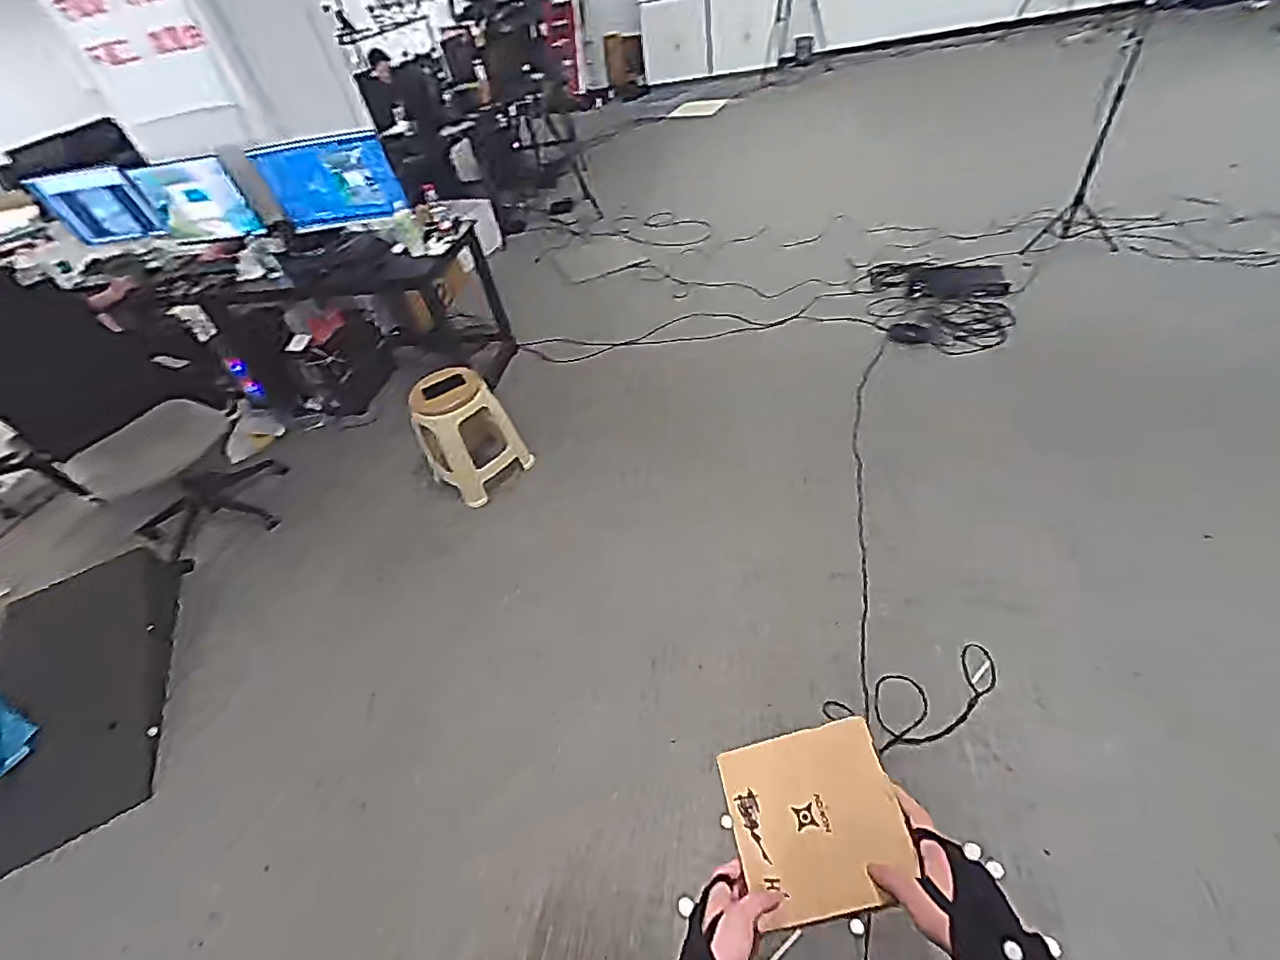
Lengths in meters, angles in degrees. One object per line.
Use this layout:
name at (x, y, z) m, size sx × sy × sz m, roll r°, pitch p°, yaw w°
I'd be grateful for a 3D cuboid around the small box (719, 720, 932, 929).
small box at (0.211, 0.403, 0.632) m, size 0.179 × 0.176 × 0.168 m, roll -20°, pitch 48°, yaw 10°
